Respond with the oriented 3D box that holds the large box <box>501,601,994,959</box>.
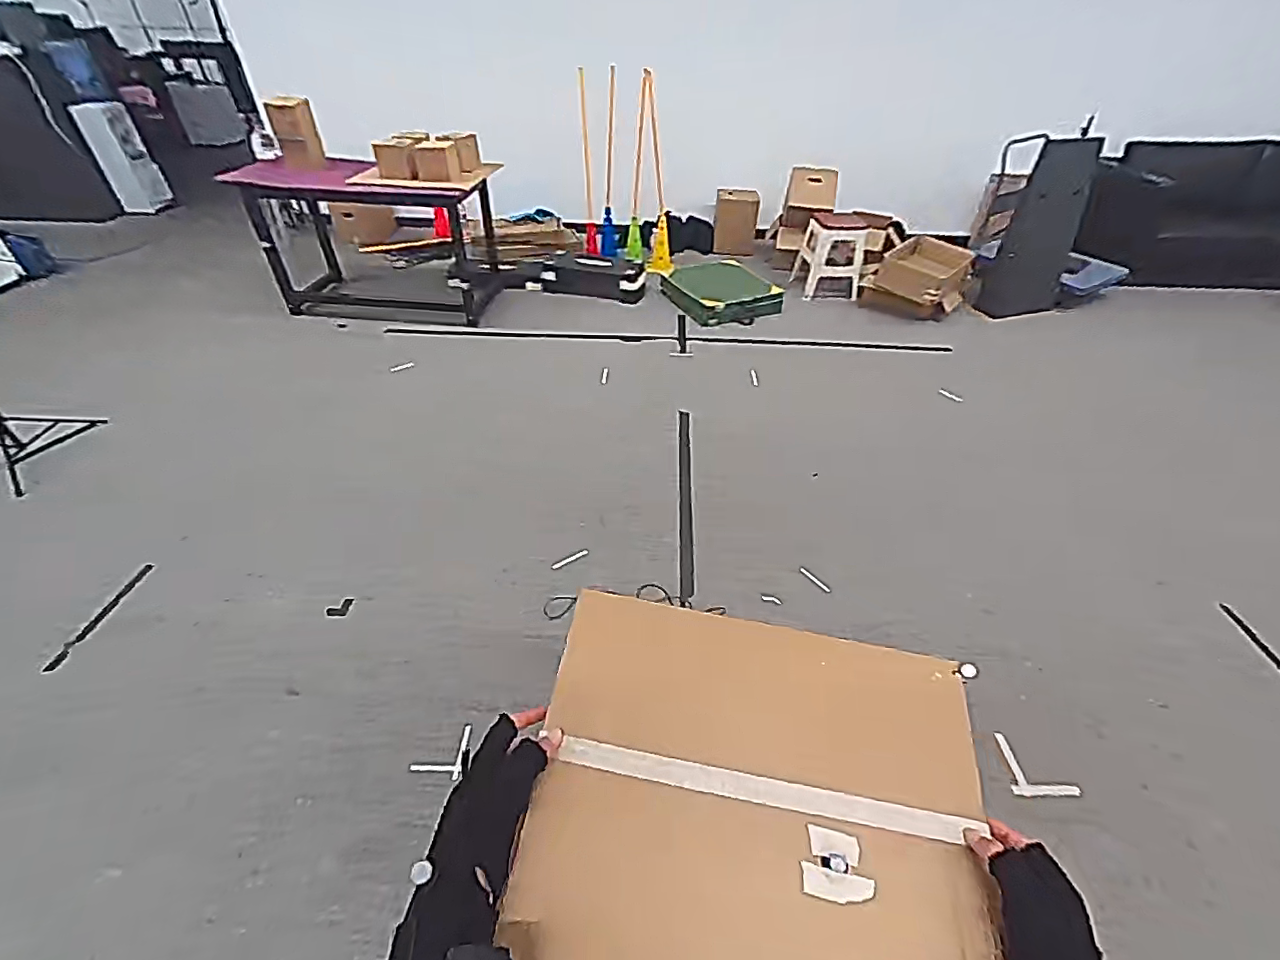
[{"bbox_3d":[0.098,0.372,0.621,0.408,0.320,0.320,10,55,4],"label":"large box"}]
